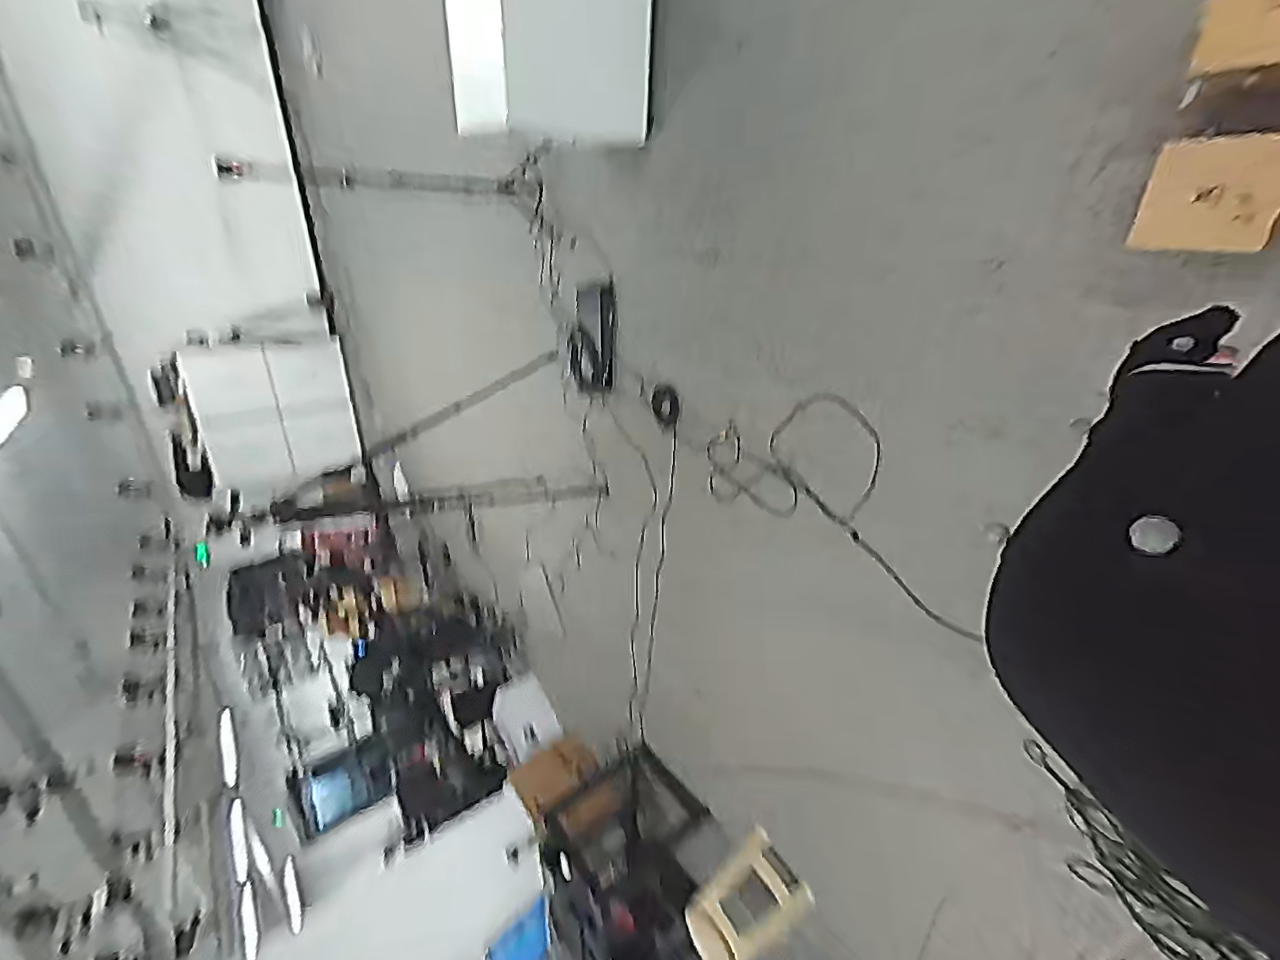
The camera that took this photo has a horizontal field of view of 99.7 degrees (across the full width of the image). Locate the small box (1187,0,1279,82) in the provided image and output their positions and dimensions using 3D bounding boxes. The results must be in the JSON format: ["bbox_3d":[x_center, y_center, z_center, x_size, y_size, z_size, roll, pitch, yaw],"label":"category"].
[{"bbox_3d":[0.997,-0.730,0.820,0.179,0.176,0.168,27,125,46],"label":"small box"}]

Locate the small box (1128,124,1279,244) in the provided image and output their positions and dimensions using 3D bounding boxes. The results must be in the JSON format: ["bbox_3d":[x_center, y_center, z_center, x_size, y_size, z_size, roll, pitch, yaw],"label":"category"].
[{"bbox_3d":[0.992,-0.495,0.920,0.179,0.176,0.168,28,127,45],"label":"small box"}]
